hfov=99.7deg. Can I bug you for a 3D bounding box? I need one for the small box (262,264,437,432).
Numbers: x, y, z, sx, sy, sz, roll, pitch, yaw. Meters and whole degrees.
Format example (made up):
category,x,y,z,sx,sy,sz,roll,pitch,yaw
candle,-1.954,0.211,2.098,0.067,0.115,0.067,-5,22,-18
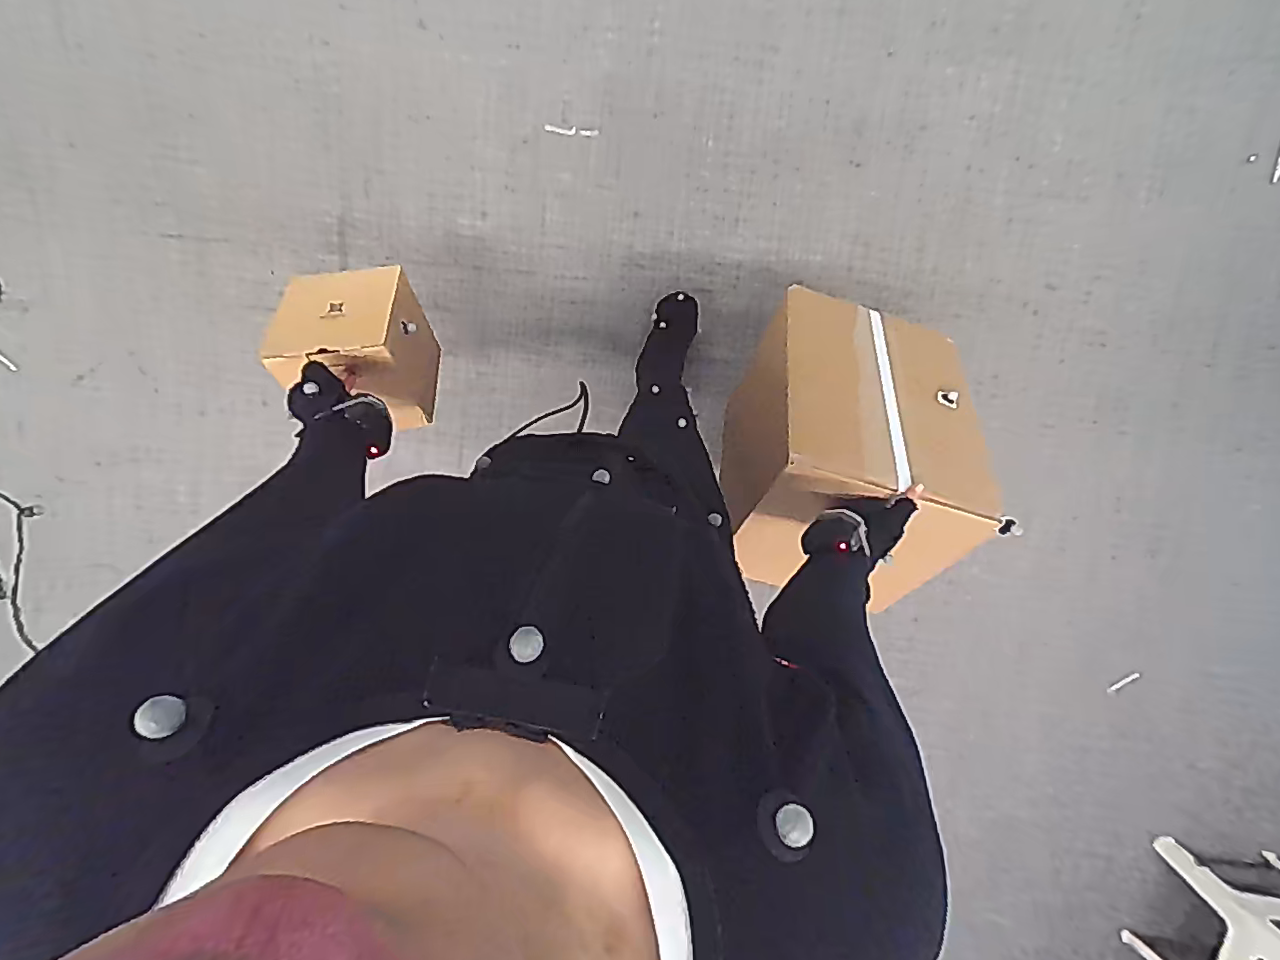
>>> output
category,x,y,z,sx,sy,sz,roll,pitch,yaw
small box,-0.424,-0.198,0.826,0.168,0.176,0.179,-8,57,-1
